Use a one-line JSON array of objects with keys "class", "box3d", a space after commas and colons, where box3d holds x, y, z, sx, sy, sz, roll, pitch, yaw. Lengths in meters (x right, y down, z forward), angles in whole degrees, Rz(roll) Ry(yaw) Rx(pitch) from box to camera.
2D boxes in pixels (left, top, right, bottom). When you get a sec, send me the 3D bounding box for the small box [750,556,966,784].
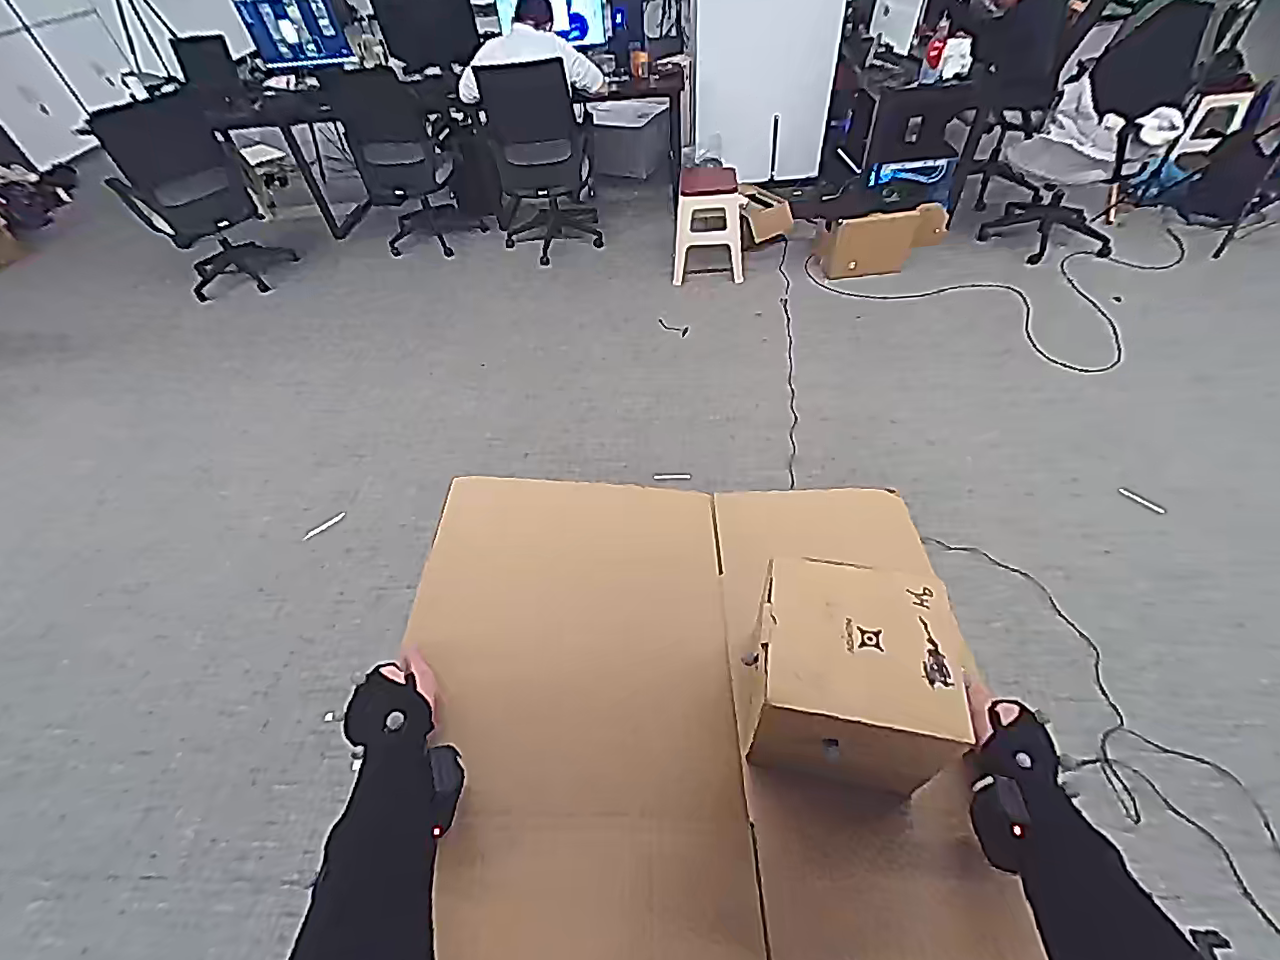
[{"class": "small box", "box3d": [0.216, 0.205, 0.584, 0.179, 0.176, 0.168, 6, 48, 11]}]
